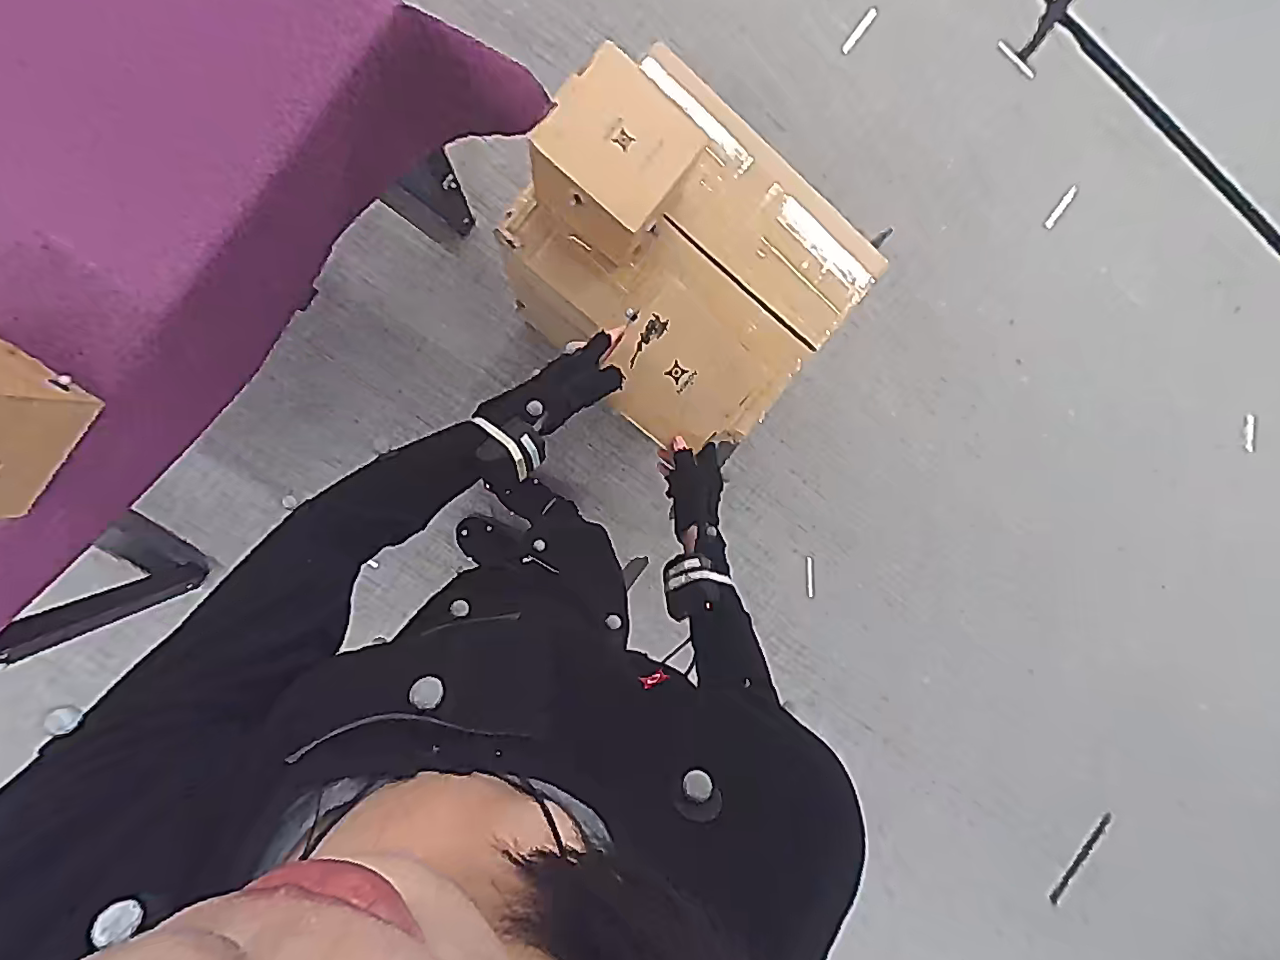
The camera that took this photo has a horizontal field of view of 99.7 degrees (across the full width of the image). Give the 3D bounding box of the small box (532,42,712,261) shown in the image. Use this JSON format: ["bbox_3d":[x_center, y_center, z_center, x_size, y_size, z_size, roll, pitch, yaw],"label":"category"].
[{"bbox_3d":[-0.032,-0.446,0.771,0.179,0.176,0.168,38,90,-10],"label":"small box"}]

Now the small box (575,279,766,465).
[{"bbox_3d":[0.031,-0.154,0.738,0.179,0.176,0.168,38,97,-22],"label":"small box"}]

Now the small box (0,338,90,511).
[{"bbox_3d":[-0.775,-0.072,0.586,0.168,0.176,0.179,35,89,-8],"label":"small box"}]
